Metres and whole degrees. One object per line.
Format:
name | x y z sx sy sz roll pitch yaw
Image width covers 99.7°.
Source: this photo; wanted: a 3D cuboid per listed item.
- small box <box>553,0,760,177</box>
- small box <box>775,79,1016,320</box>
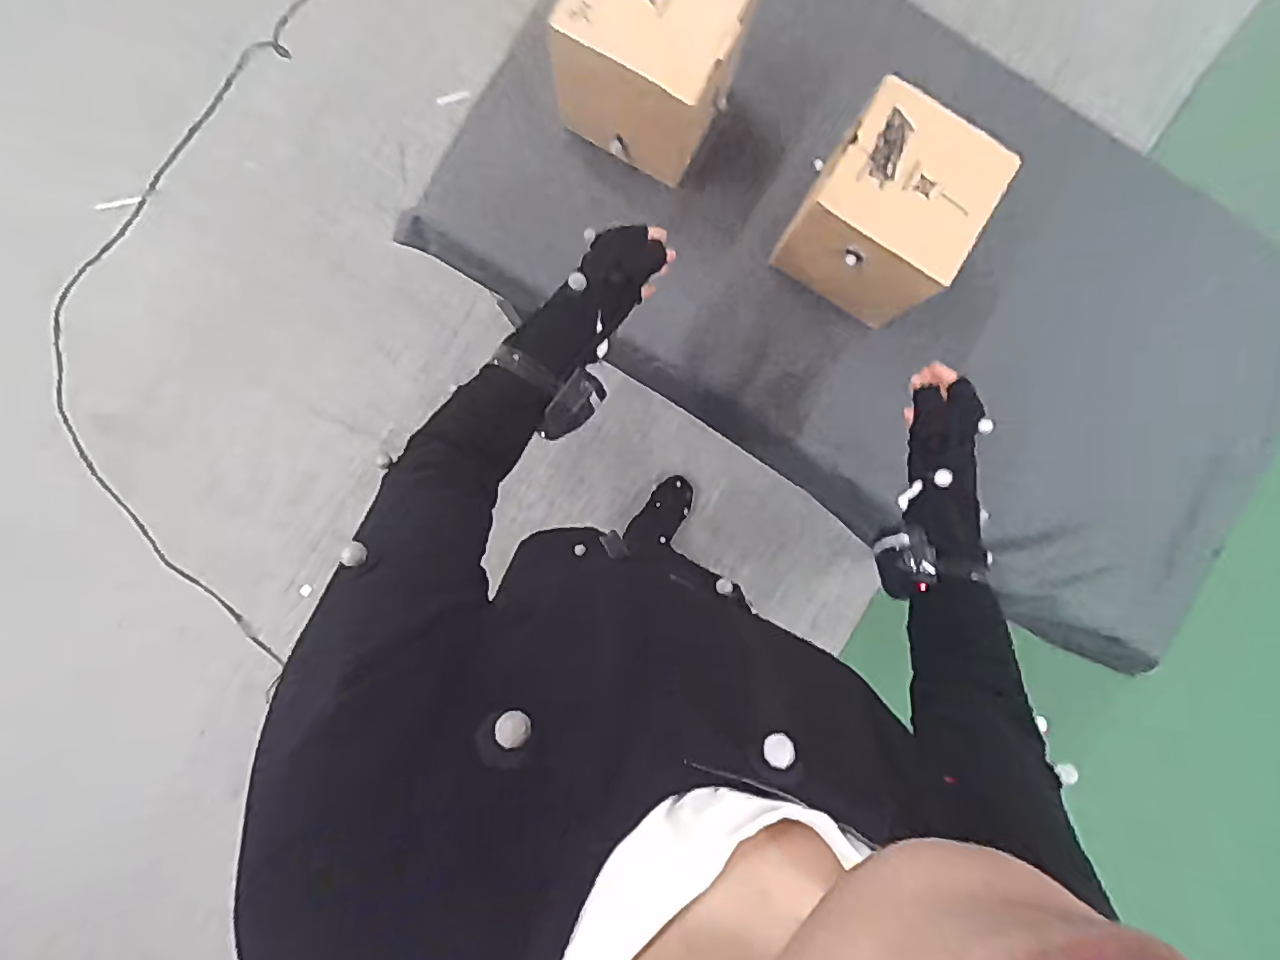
small box | 0.016 -0.506 0.652 0.179 0.176 0.168 28 89 -4
small box | 0.296 -0.325 0.669 0.179 0.176 0.168 31 89 -4
